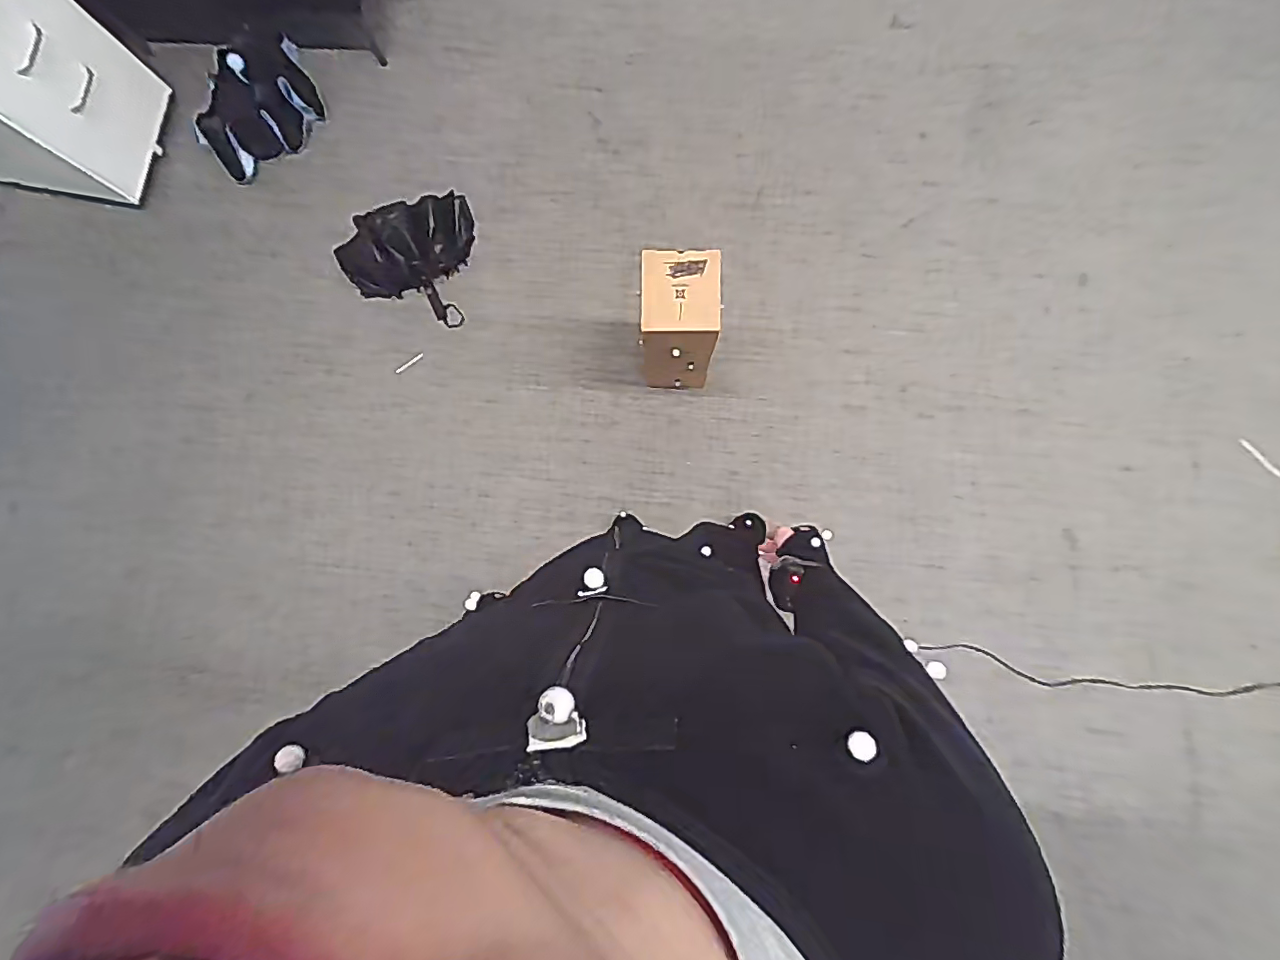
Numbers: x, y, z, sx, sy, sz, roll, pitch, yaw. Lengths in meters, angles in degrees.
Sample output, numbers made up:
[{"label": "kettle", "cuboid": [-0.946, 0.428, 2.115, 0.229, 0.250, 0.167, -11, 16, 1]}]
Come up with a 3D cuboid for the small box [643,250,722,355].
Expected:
[{"label": "small box", "cuboid": [0.091, -0.390, 1.206, 0.168, 0.176, 0.179, 0, 87, 2]}]

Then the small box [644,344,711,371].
[{"label": "small box", "cuboid": [0.101, -0.384, 1.371, 0.168, 0.176, 0.179, 3, 84, 2]}]
